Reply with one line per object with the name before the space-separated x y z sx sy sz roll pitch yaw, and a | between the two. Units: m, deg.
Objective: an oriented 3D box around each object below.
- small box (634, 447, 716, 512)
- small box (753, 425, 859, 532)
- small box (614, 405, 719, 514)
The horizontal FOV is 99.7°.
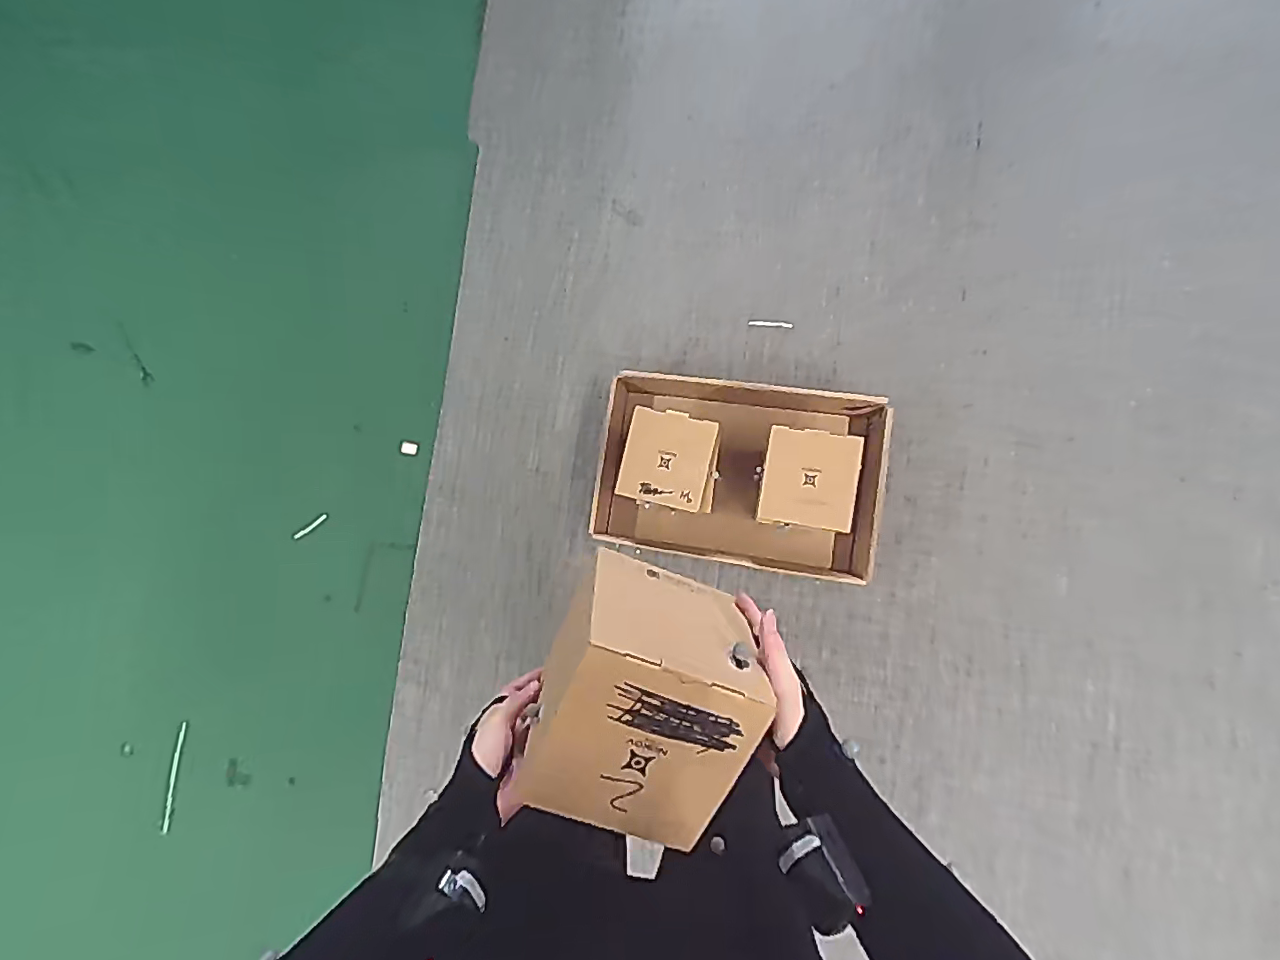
small box | 0.088 -0.020 1.267 0.168 0.176 0.179 7 87 8
small box | 0.317 0.001 1.067 0.168 0.176 0.179 10 87 11
small box | 0.059 -0.035 1.106 0.168 0.176 0.179 14 87 9
